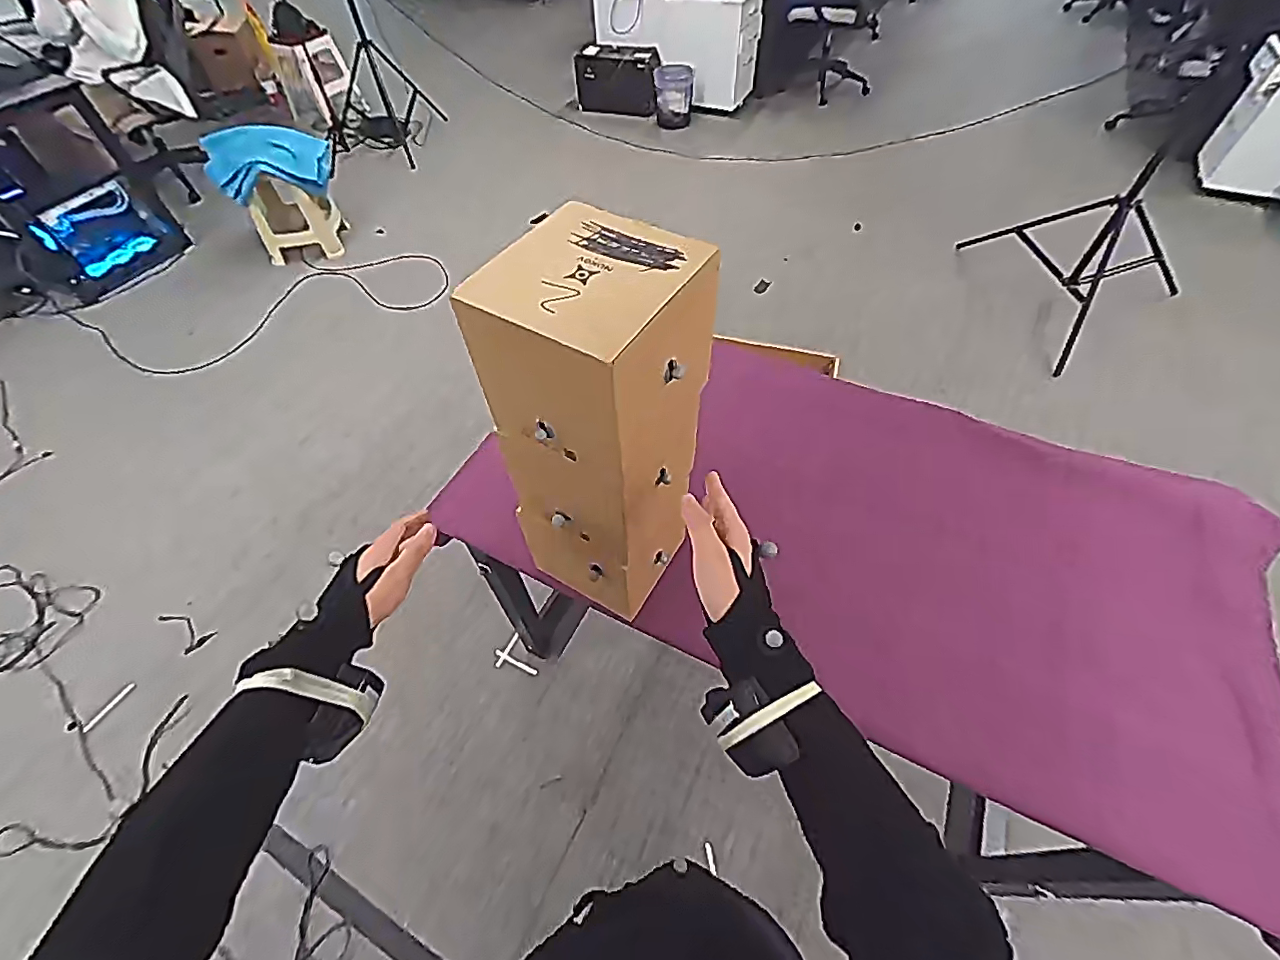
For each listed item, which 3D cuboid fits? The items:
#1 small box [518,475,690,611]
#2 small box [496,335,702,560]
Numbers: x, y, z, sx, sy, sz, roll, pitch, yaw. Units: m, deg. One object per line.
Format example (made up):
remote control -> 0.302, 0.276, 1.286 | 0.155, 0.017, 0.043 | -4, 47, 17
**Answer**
small box -> -0.043, 0.066, 0.784 | 0.179, 0.176, 0.168 | 25, 58, 20
small box -> -0.042, -0.037, 0.655 | 0.168, 0.176, 0.179 | 25, 59, 19
